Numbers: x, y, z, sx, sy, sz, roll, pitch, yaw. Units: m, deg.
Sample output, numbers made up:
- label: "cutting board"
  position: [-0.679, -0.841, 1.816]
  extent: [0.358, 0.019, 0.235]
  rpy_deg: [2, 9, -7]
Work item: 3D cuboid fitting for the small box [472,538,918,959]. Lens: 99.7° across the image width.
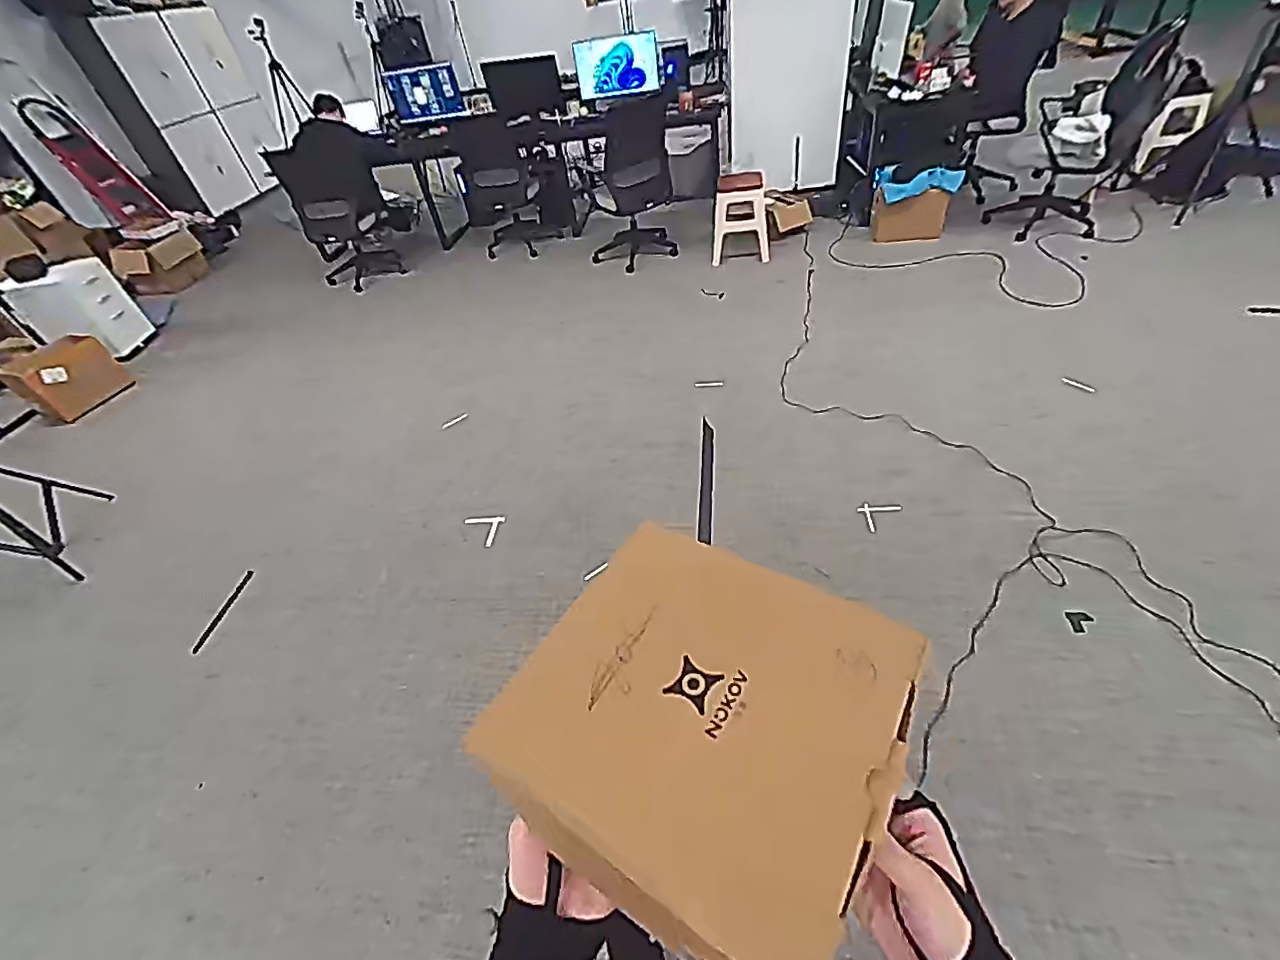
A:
- label: "small box"
  position: [0.040, 0.170, 0.326]
  extent: [0.179, 0.176, 0.168]
  rpy_deg: [17, 47, 28]
